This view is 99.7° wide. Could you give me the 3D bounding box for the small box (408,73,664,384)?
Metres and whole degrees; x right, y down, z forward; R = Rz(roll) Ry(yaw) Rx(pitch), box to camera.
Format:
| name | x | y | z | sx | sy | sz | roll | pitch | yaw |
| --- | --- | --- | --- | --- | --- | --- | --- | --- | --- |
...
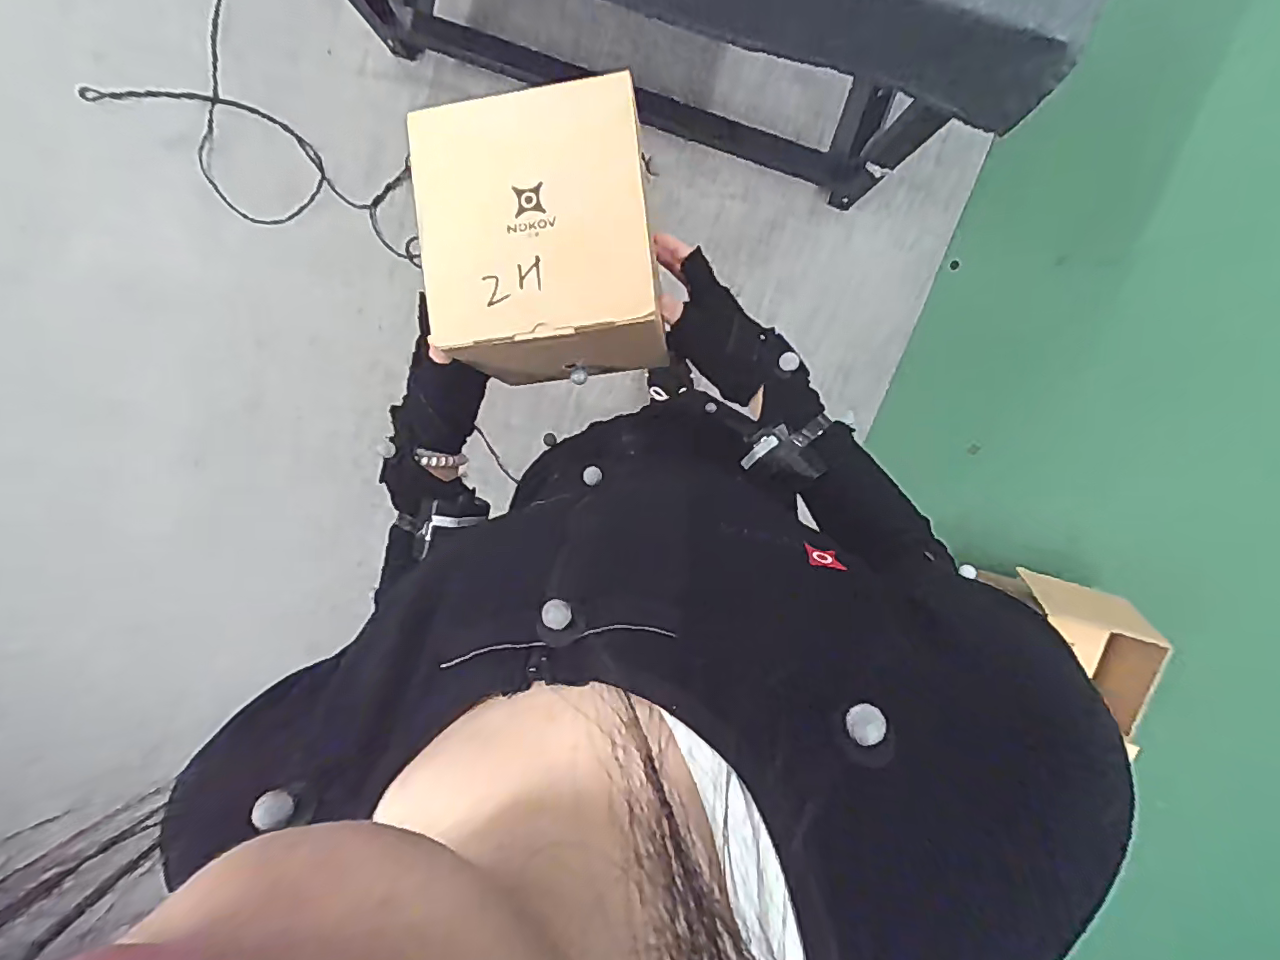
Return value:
| name | x | y | z | sx | sy | sz | roll | pitch | yaw |
| --- | --- | --- | --- | --- | --- | --- | --- | --- | --- |
| small box | -0.071 | -0.190 | 0.461 | 0.168 | 0.176 | 0.179 | -6 | 90 | 6 |
